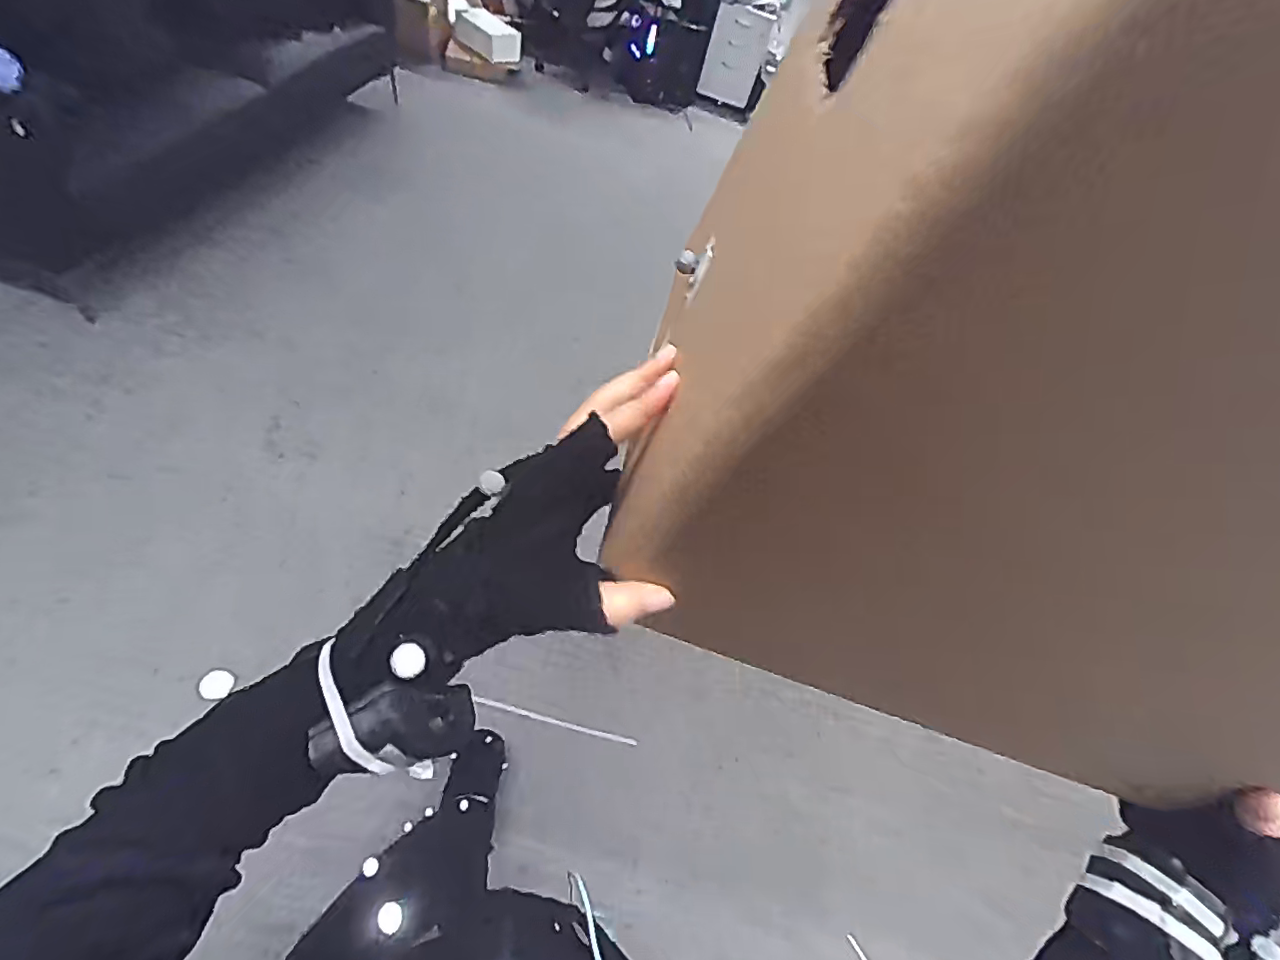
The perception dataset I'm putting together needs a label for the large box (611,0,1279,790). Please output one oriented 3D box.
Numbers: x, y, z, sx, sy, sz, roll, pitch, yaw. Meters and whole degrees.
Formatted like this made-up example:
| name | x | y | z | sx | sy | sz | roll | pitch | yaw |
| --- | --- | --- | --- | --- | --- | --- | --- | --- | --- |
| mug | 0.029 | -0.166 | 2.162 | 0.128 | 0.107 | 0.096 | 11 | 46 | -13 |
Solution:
| name | x | y | z | sx | sy | sz | roll | pitch | yaw |
| --- | --- | --- | --- | --- | --- | --- | --- | --- | --- |
| large box | 0.241 | -0.060 | 0.298 | 0.408 | 0.320 | 0.320 | 23 | 51 | -11 |
